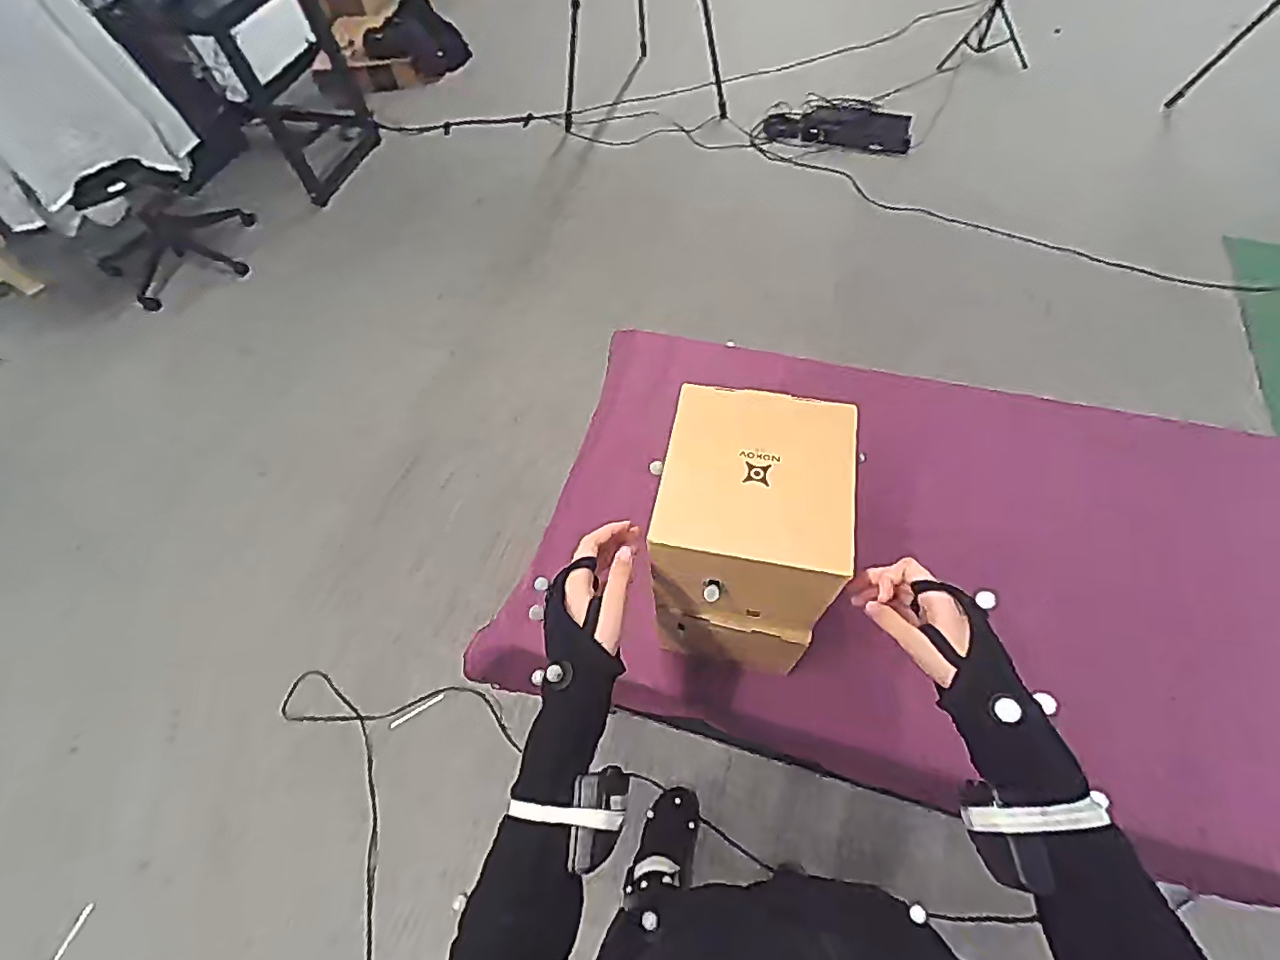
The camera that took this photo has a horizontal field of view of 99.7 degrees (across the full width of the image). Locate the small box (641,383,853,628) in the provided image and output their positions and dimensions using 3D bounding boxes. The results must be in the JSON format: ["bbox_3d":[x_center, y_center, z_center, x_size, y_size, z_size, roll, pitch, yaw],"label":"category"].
[{"bbox_3d":[0.105,0.031,0.536,0.168,0.176,0.179,8,59,10],"label":"small box"}]
